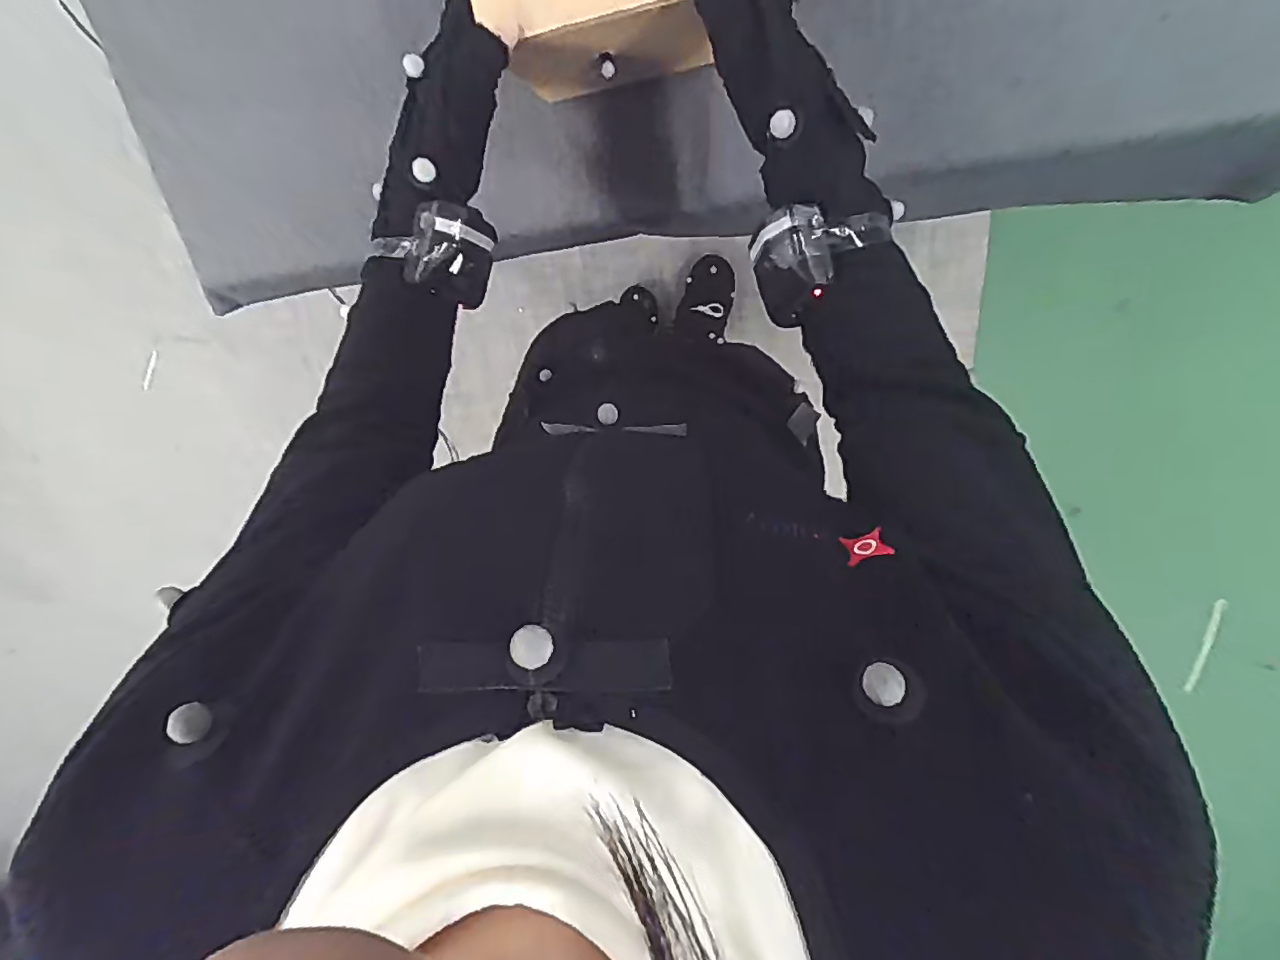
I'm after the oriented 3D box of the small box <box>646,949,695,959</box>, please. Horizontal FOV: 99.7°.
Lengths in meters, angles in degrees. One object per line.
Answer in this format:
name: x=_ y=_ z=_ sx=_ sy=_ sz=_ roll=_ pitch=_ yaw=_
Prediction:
small box: x=0.105 y=1.740 z=1.838 sx=0.179 sy=0.176 sz=0.168 roll=-7 pitch=111 yaw=14
